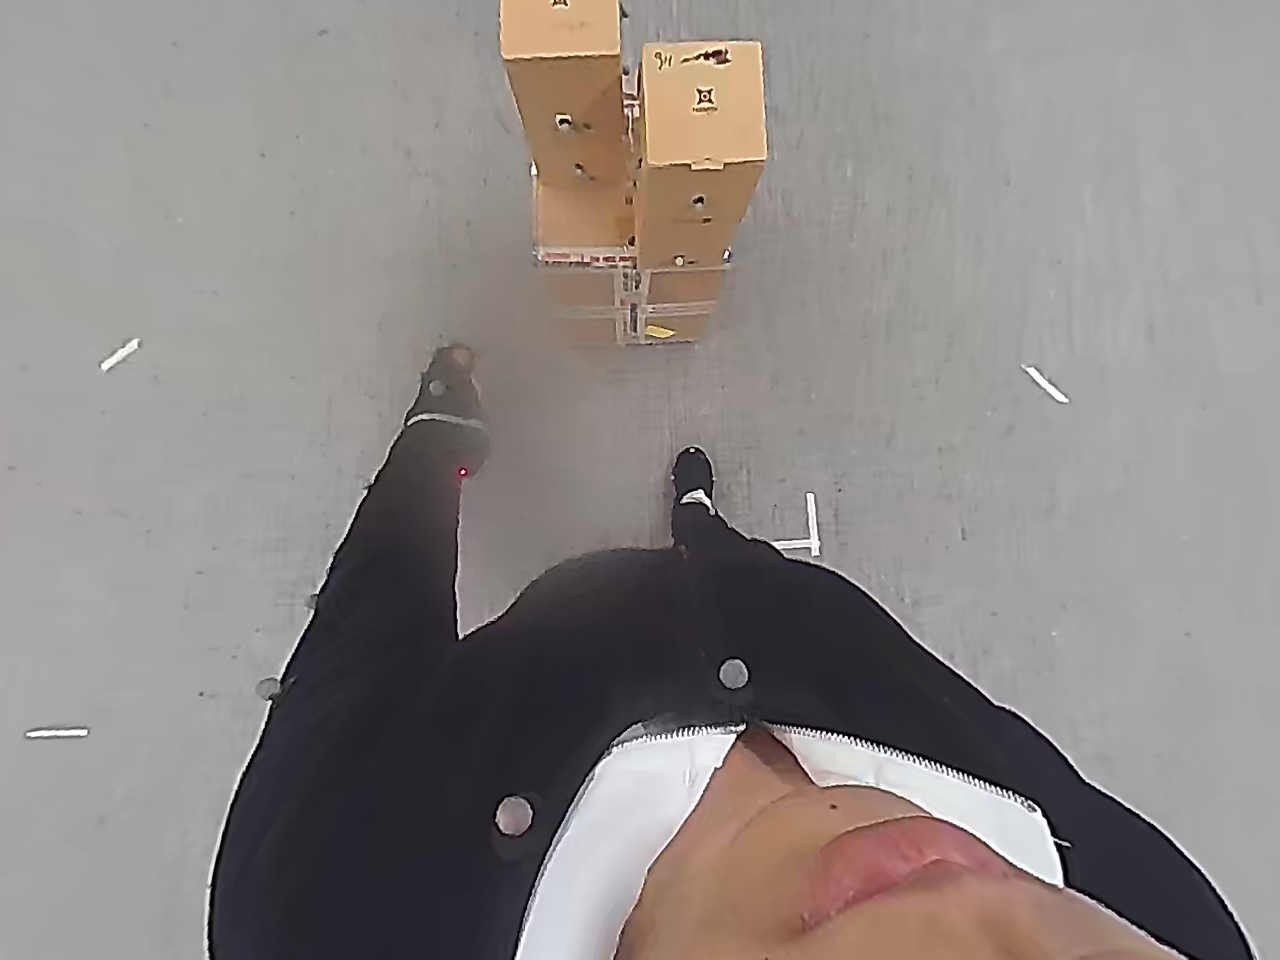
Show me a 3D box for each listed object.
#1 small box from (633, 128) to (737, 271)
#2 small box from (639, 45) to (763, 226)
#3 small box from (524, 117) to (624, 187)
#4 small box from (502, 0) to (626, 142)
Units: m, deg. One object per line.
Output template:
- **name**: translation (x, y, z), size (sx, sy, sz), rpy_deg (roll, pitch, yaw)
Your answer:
- **small box**: translation (0.074, -0.500, 0.979), size (0.168, 0.176, 0.179), rpy_deg (-3, 88, -1)
- **small box**: translation (0.085, -0.503, 0.815), size (0.168, 0.176, 0.179), rpy_deg (-2, 88, -2)
- **small box**: translation (-0.115, -0.666, 0.985), size (0.168, 0.176, 0.179), rpy_deg (-2, 88, 0)
- **small box**: translation (-0.108, -0.654, 0.821), size (0.168, 0.176, 0.179), rpy_deg (-2, 88, 1)
